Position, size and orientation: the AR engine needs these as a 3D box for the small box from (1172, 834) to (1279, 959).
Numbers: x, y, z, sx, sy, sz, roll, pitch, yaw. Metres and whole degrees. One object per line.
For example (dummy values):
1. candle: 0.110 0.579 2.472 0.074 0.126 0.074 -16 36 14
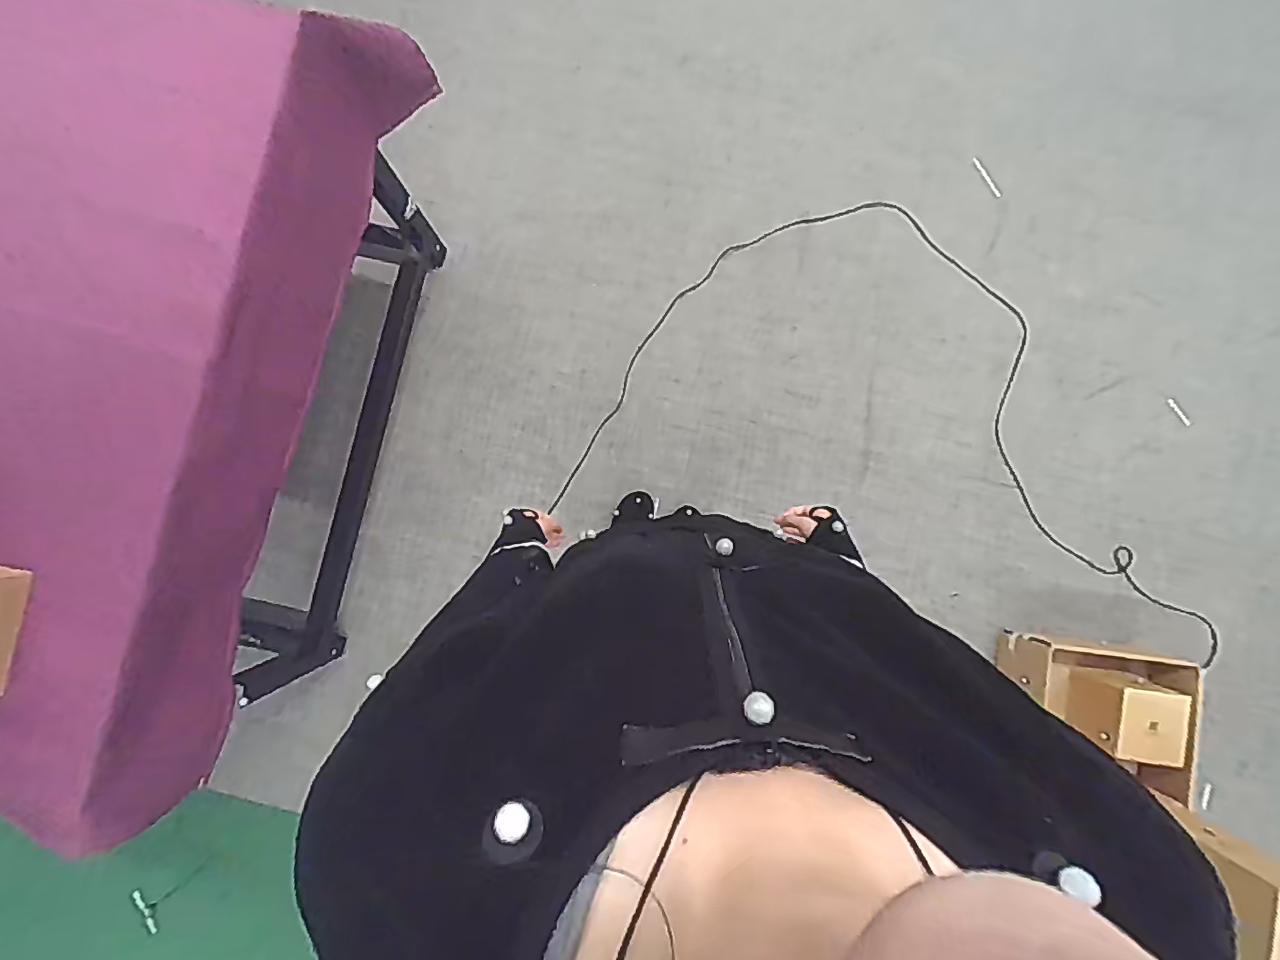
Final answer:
1. small box: 1.202 0.840 1.051 0.168 0.176 0.179 14 87 0

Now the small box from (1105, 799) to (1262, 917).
1. small box: 1.213 0.851 1.217 0.179 0.176 0.168 10 87 0

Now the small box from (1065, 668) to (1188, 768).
1. small box: 1.241 0.602 1.391 0.168 0.176 0.179 8 89 1

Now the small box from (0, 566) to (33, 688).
1. small box: -0.952 0.191 0.687 0.168 0.176 0.179 11 87 0
